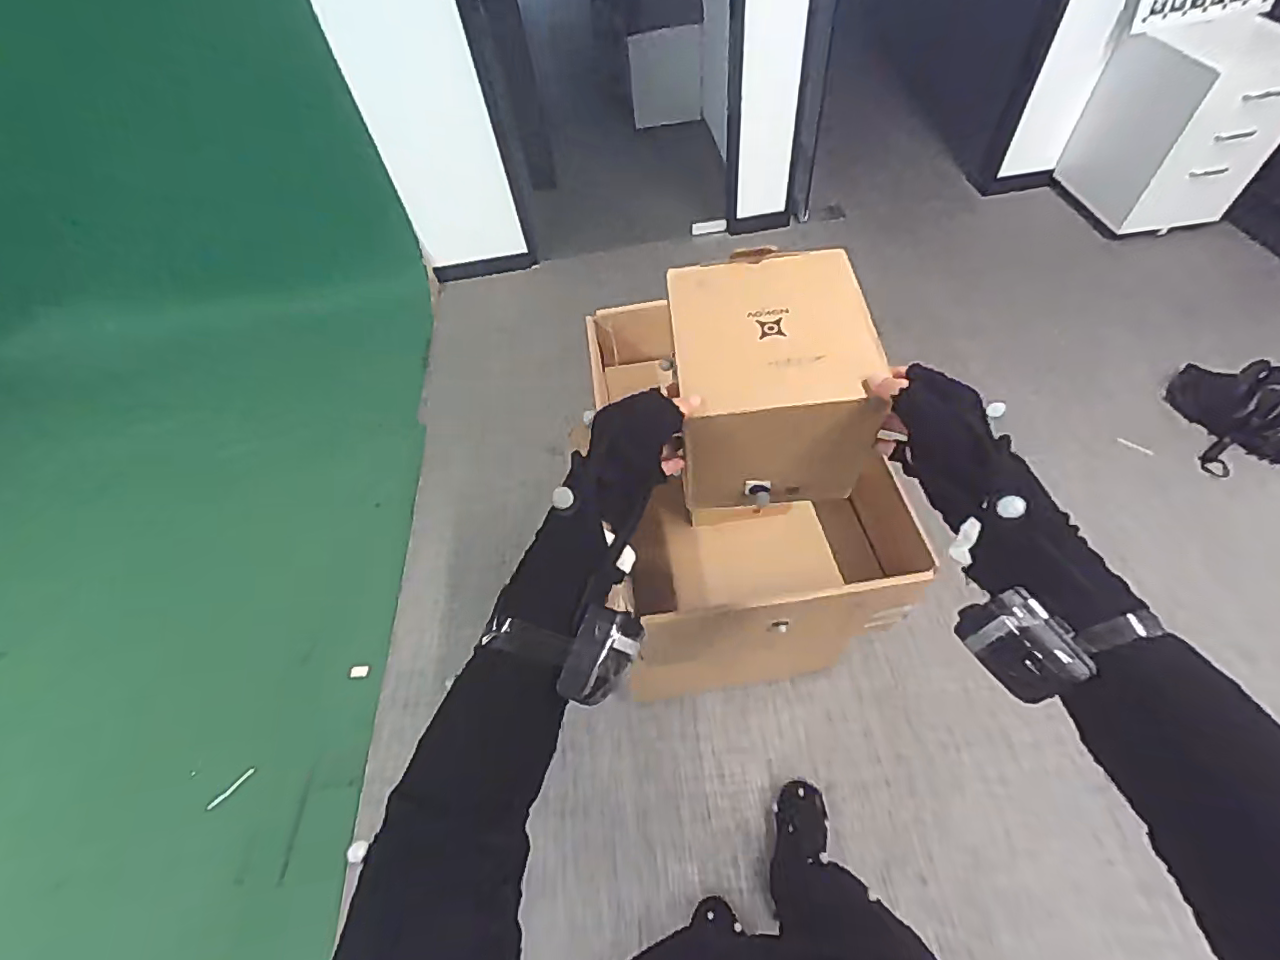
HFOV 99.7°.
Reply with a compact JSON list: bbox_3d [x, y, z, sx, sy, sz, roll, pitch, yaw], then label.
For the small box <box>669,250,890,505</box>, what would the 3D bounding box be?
[{"bbox_3d":[0.117,-0.093,0.534,0.168,0.176,0.179,-5,60,4],"label":"small box"}]
